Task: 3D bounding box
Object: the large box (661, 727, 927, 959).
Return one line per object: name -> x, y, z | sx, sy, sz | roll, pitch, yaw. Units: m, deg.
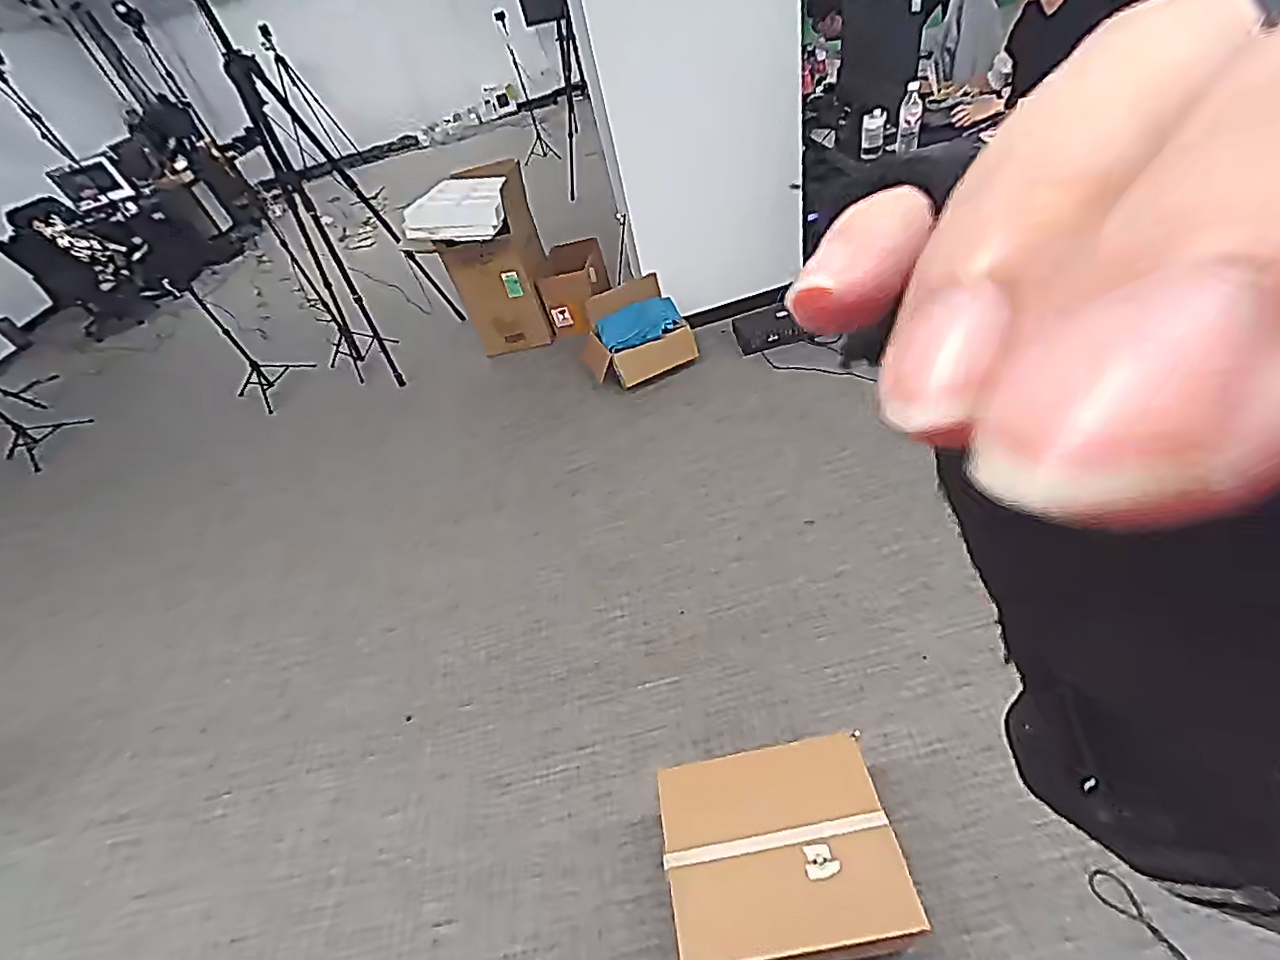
large box -> 0.283, 0.750, 1.084 | 0.408, 0.320, 0.320 | -13, 44, 3
